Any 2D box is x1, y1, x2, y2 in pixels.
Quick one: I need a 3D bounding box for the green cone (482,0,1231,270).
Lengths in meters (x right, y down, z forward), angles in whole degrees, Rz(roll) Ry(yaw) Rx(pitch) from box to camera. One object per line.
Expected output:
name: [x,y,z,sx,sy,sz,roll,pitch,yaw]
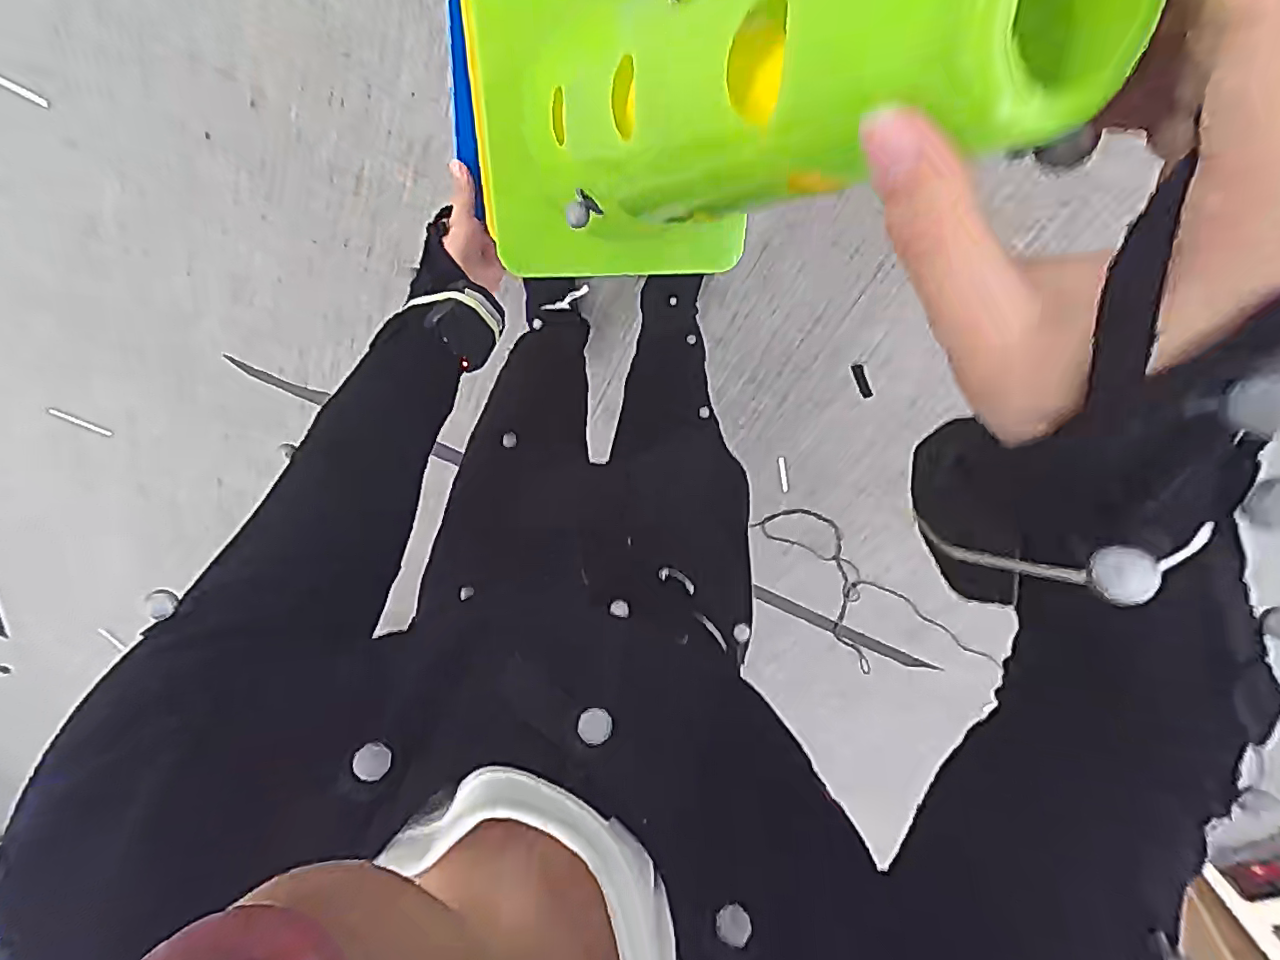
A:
green cone: [0.038,-0.171,0.238,0.200,0.368,0.202,-7,121,-12]
